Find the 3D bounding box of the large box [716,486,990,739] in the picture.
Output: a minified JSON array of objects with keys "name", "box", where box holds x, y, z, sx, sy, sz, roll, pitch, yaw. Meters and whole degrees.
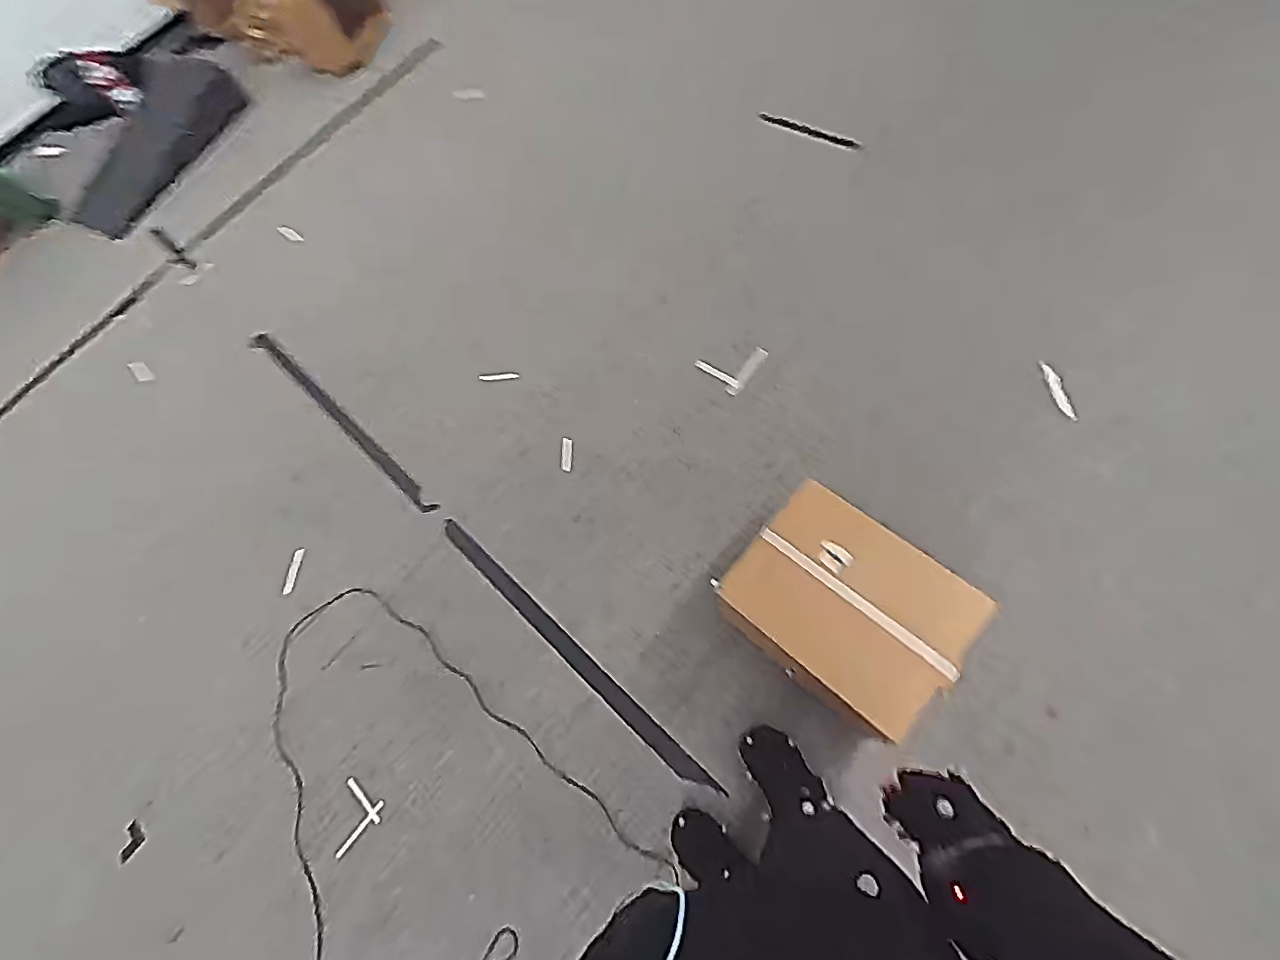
[{"name":"large box","box":[0.426,0.289,1.165,0.408,0.320,0.320,38,79,24]}]
